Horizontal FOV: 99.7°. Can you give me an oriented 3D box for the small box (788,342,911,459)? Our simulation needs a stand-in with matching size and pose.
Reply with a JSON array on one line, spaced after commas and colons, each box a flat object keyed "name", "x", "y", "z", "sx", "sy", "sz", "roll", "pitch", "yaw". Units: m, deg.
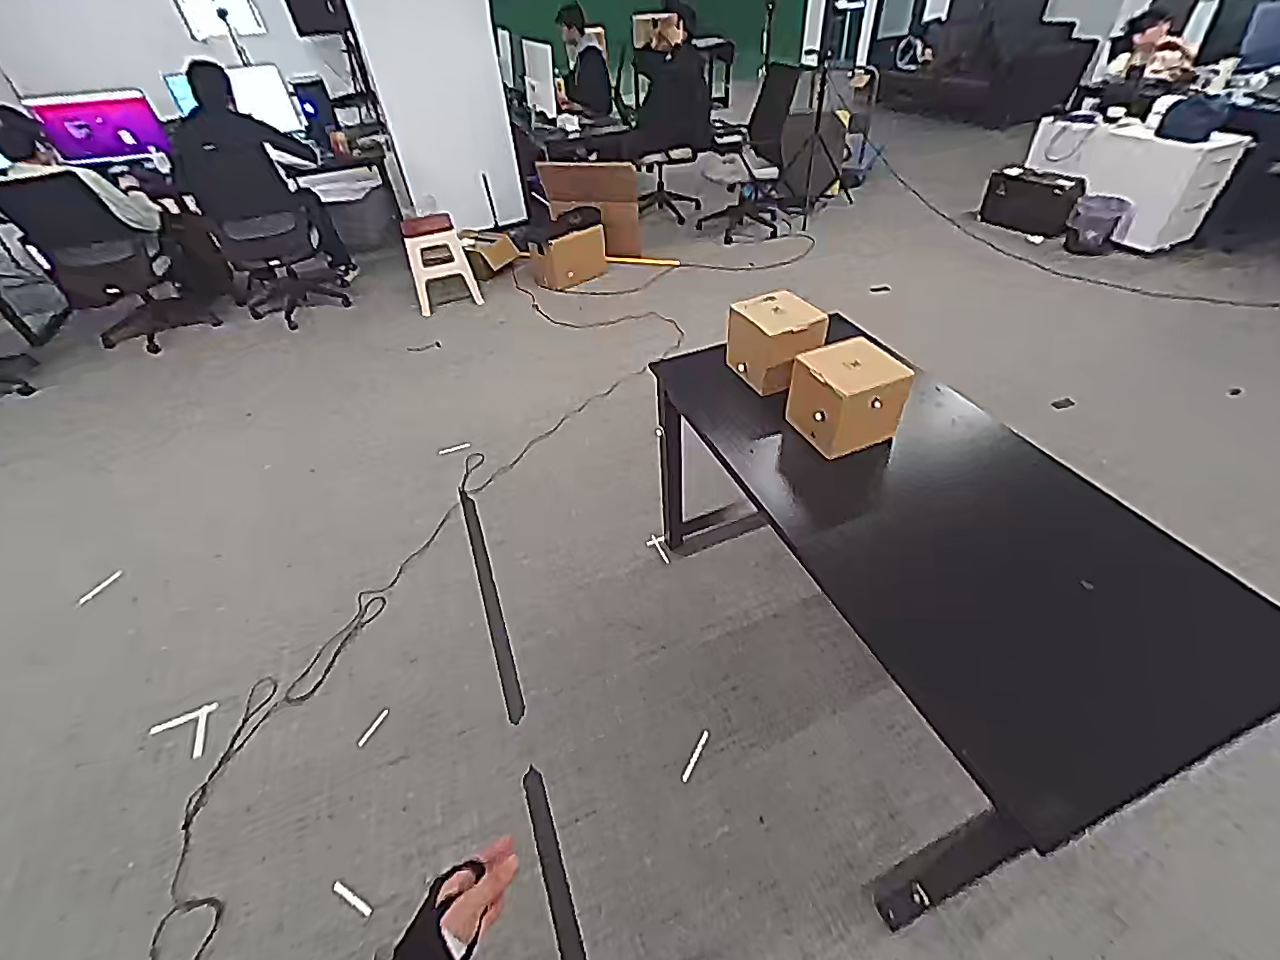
[{"name": "small box", "x": 0.438, "y": -0.169, "z": 1.166, "sx": 0.179, "sy": 0.176, "sz": 0.168, "roll": -18, "pitch": 46, "yaw": -15}]

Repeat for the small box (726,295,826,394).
[{"name": "small box", "x": 0.330, "y": -0.331, "z": 1.342, "sx": 0.168, "sy": 0.176, "sz": 0.179, "roll": -19, "pitch": 46, "yaw": -16}]
